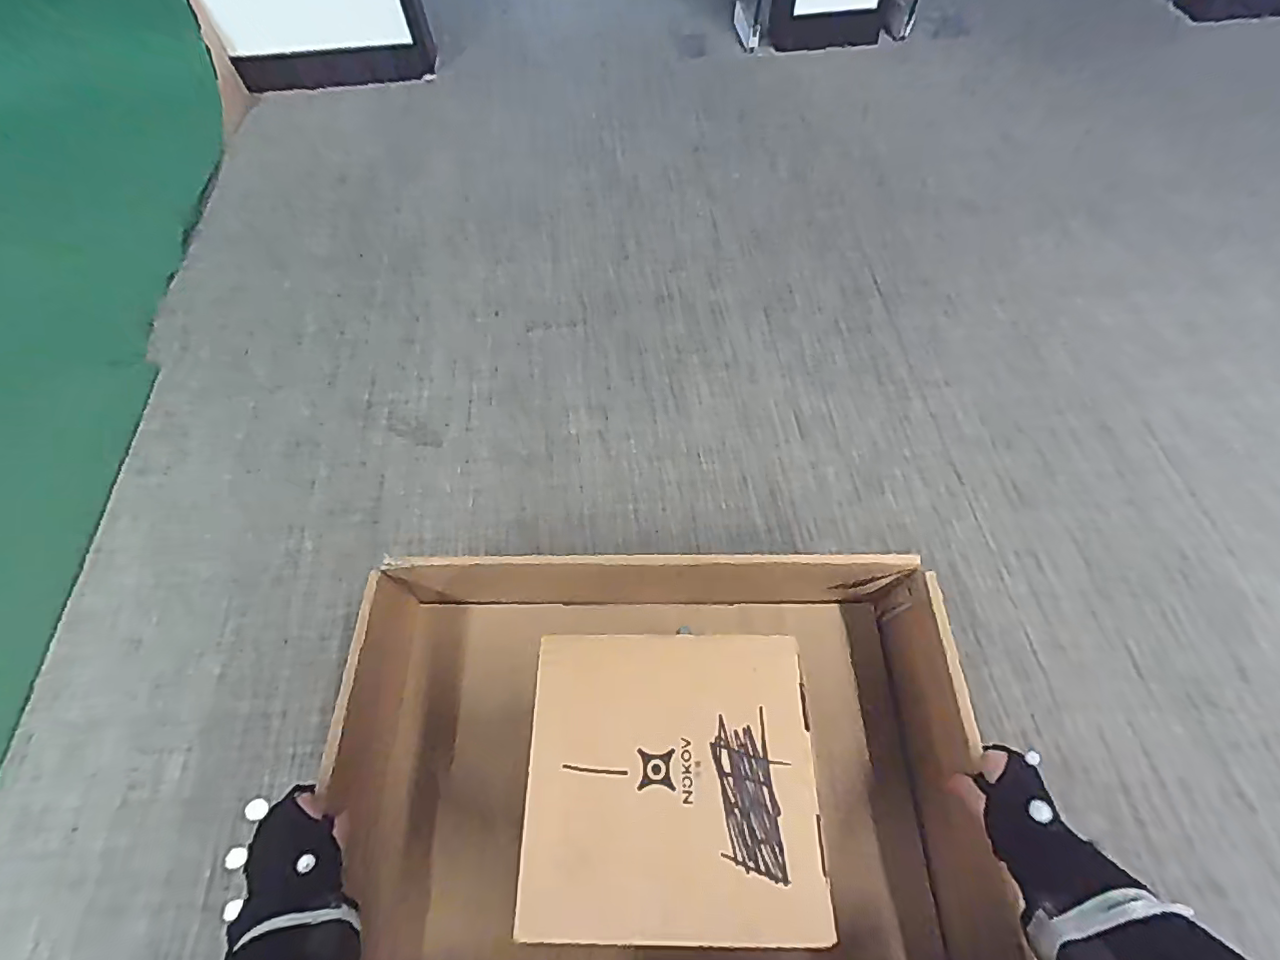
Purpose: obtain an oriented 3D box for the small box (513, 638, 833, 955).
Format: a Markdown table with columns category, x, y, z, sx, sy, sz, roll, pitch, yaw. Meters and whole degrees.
| category | x | y | z | sx | sy | sz | roll | pitch | yaw |
| --- | --- | --- | --- | --- | --- | --- | --- | --- | --- |
| small box | 0.023 | 0.217 | 0.398 | 0.179 | 0.176 | 0.168 | -1 | 61 | 4 |
